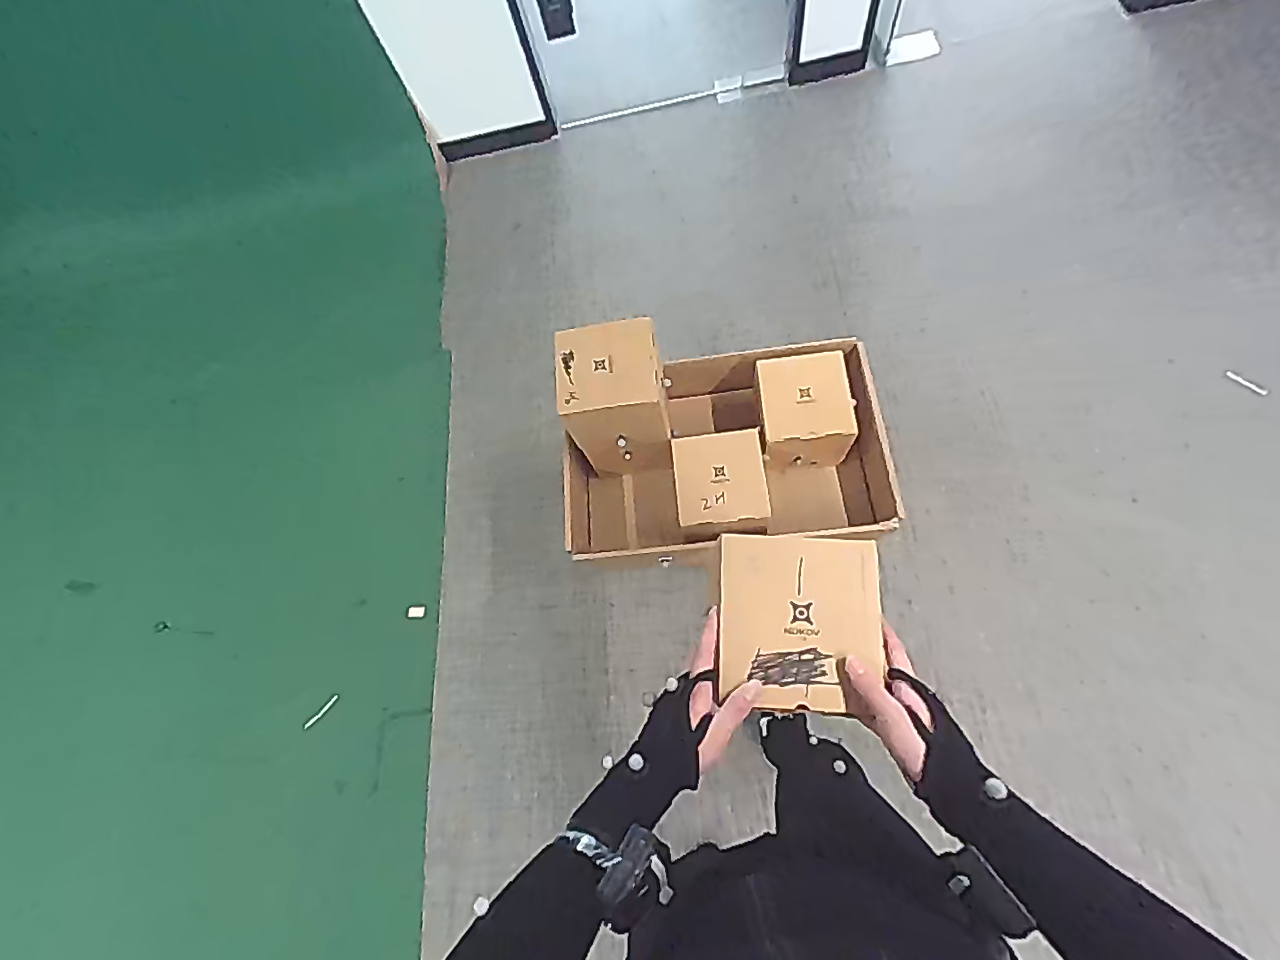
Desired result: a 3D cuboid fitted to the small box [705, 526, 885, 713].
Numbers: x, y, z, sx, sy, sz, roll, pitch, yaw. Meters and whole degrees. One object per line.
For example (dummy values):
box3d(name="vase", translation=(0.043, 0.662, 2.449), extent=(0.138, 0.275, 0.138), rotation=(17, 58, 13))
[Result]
box3d(name="small box", translation=(0.166, 0.159, 0.626), extent=(0.168, 0.176, 0.179), rotation=(3, 74, 2))

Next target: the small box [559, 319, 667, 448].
box3d(name="small box", translation=(-0.043, -0.169, 0.992), extent=(0.179, 0.176, 0.168), rotation=(-6, 70, 6))
